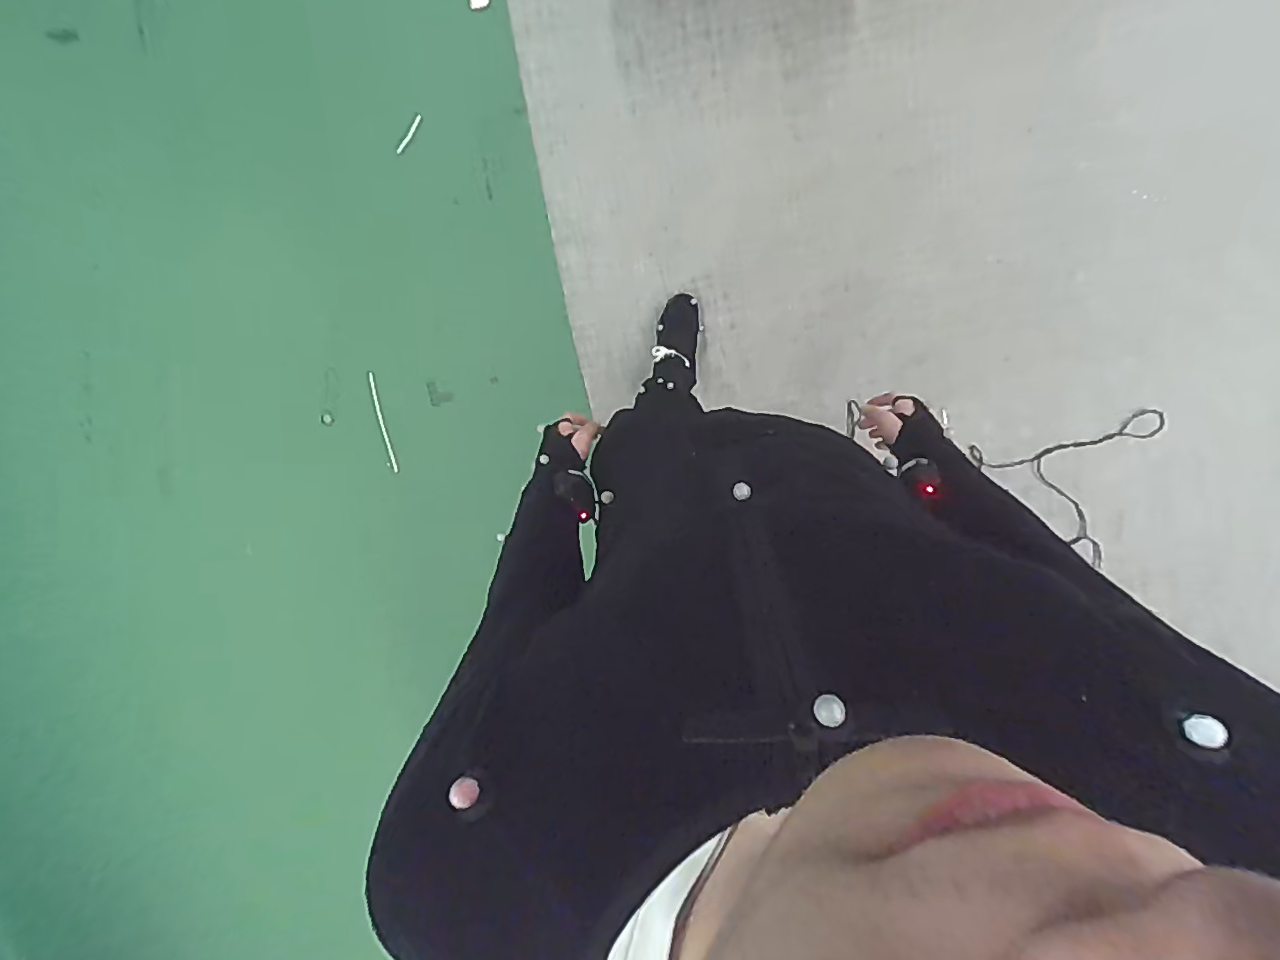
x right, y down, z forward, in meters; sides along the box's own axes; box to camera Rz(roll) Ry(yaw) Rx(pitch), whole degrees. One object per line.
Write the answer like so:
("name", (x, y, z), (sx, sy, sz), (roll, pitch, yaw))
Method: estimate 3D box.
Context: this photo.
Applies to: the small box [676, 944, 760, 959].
("small box", (0.154, 1.017, 1.012), (0.168, 0.176, 0.179), (-6, 103, 7))
